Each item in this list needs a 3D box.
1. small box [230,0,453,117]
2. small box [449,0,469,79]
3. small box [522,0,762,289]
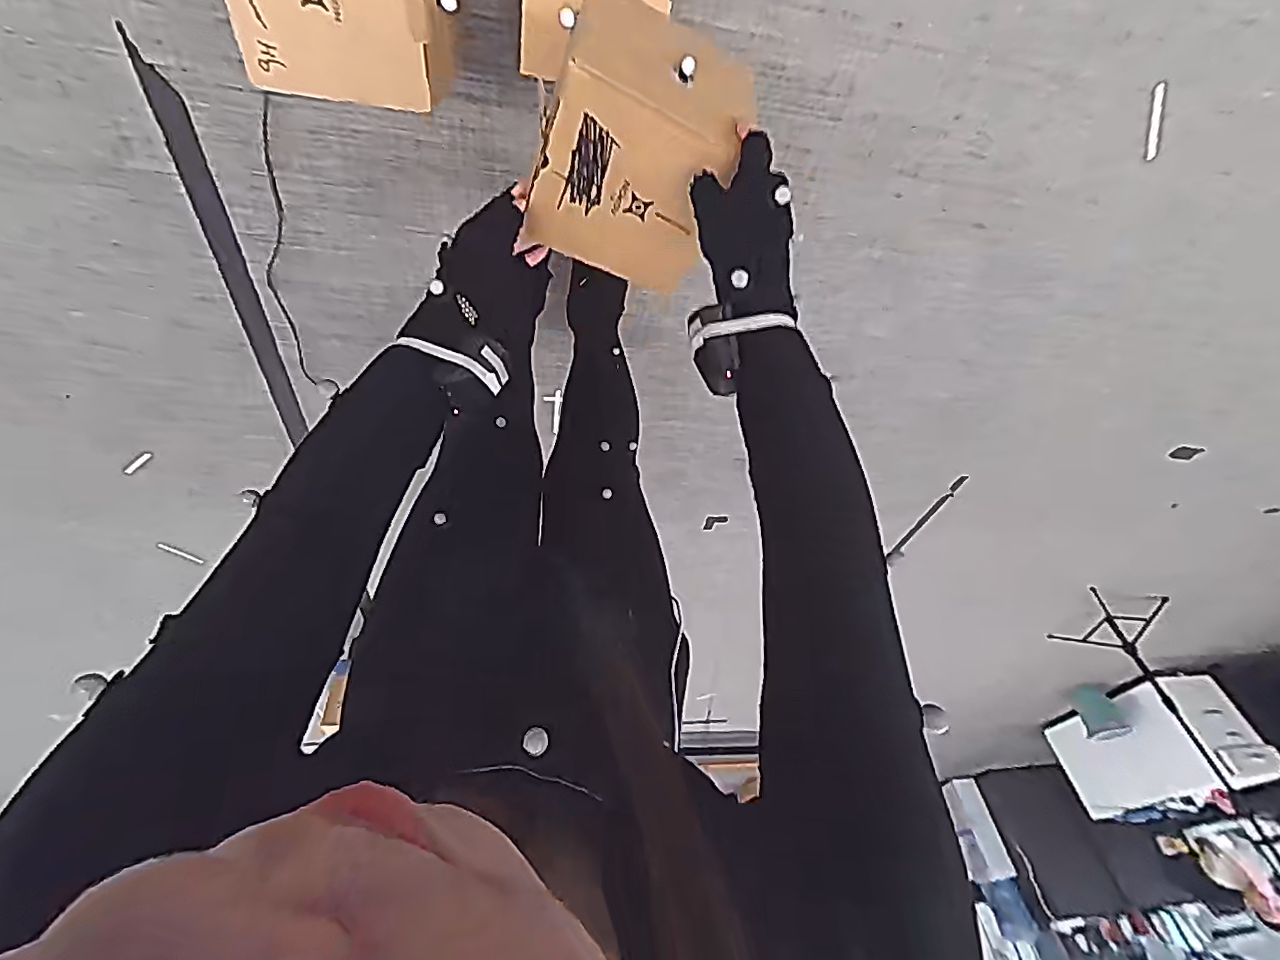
[{"bbox_3d":[-0.291,-0.498,0.547,0.179,0.176,0.168,2,138,-10],"label":"small box"},{"bbox_3d":[-0.304,-0.624,0.651,0.168,0.176,0.179,3,139,-10],"label":"small box"},{"bbox_3d":[-0.002,-0.334,0.540,0.179,0.176,0.168,15,149,-21],"label":"small box"}]
